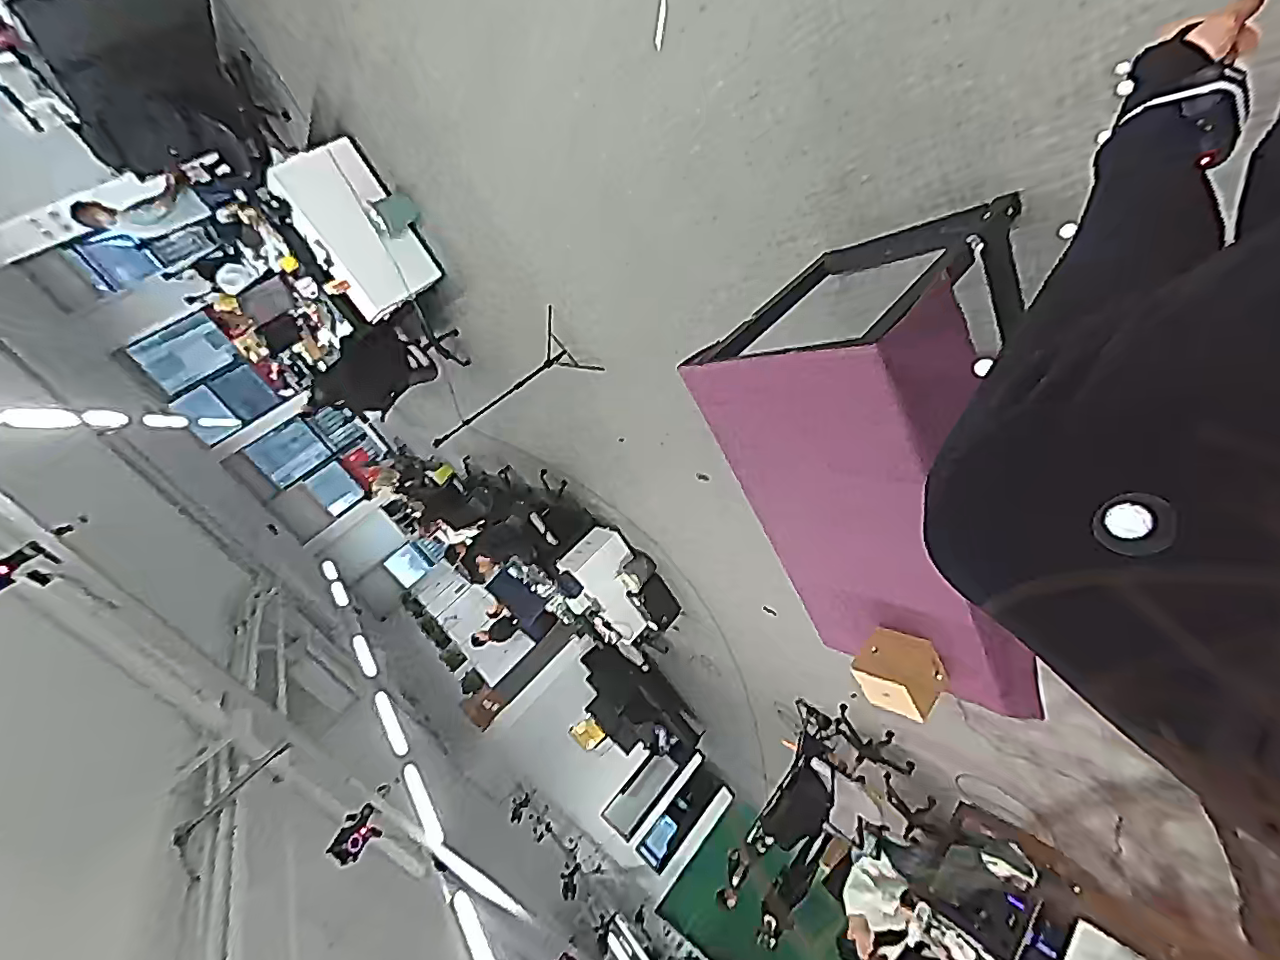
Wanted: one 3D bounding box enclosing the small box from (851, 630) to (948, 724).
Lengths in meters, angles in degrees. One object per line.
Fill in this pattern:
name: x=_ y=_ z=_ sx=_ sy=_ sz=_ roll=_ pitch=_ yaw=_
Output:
small box: x=0.763 y=0.570 z=1.590 sx=0.179 sy=0.176 sz=0.168 roll=4 pitch=132 yaw=58
